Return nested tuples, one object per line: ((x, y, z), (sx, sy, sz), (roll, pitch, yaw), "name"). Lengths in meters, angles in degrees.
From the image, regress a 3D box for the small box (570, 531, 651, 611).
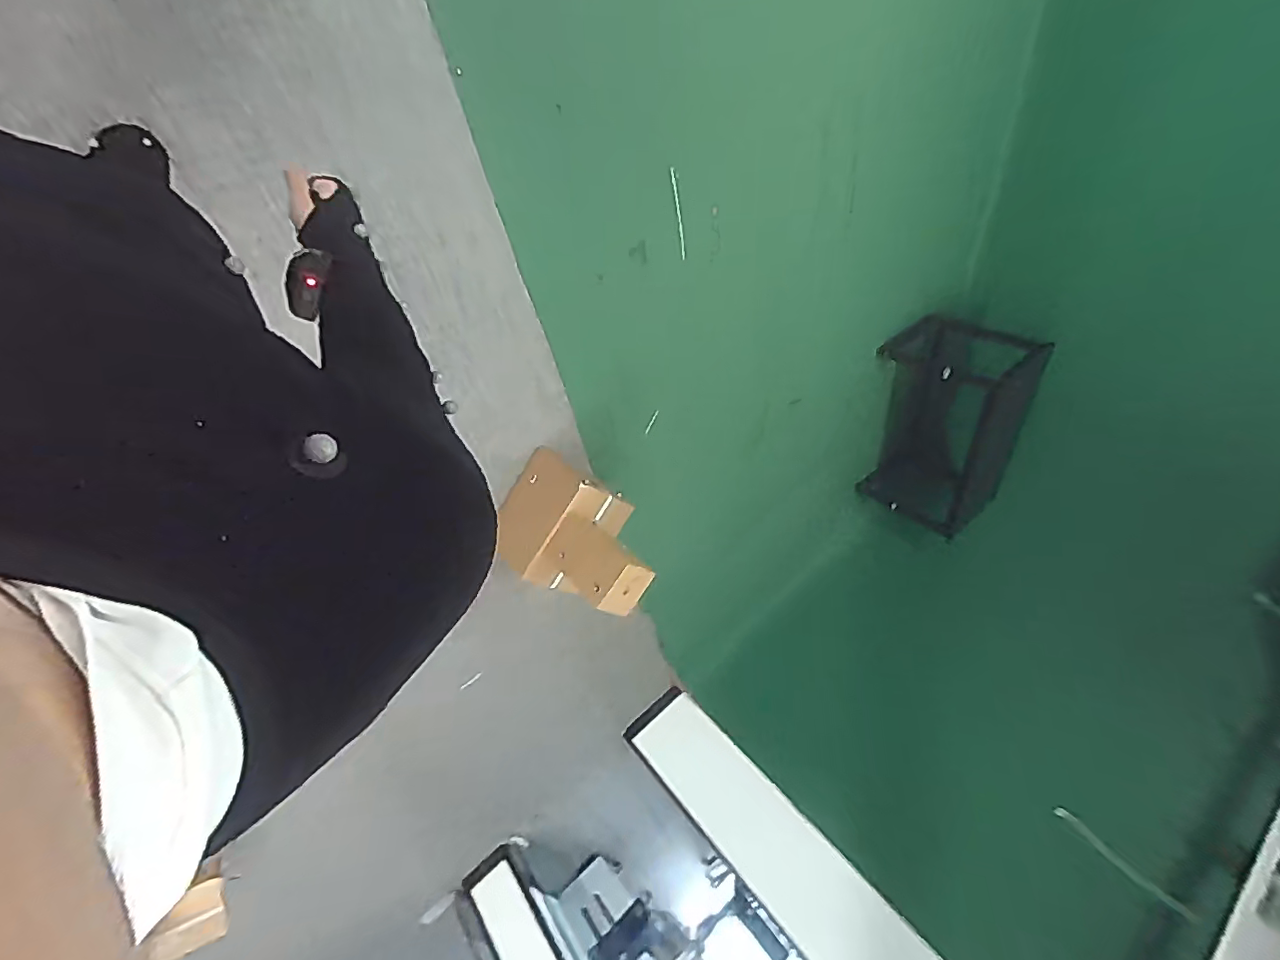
((-0.104, 0.297, 1.770), (0.179, 0.176, 0.168), (-55, 141, 2), "small box")

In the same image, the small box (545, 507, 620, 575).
((-0.205, 0.222, 1.876), (0.168, 0.176, 0.179), (29, 95, -50), "small box")

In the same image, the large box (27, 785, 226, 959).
((-1.577, 1.260, 1.688), (0.408, 0.320, 0.320), (-8, 124, -42), "large box")
